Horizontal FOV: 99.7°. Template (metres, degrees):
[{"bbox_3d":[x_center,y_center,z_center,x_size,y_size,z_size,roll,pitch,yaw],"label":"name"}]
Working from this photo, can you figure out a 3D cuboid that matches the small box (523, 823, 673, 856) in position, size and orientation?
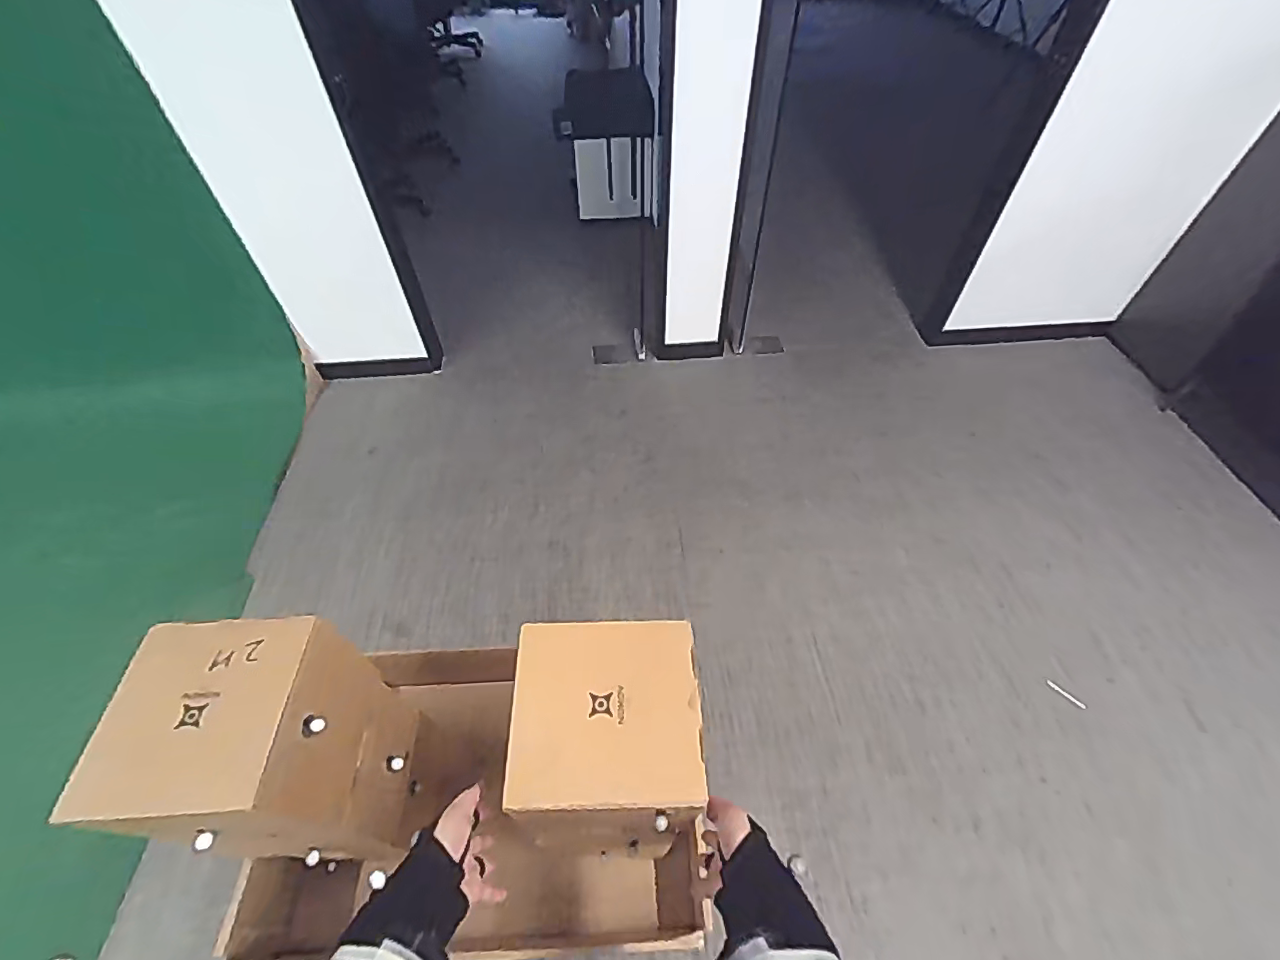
[{"bbox_3d":[-0.040,0.366,0.691,0.168,0.176,0.179,3,50,1],"label":"small box"}]

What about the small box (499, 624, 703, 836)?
[{"bbox_3d":[-0.036,0.263,0.565,0.179,0.176,0.168,-1,51,-3],"label":"small box"}]

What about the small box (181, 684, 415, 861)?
[{"bbox_3d":[-0.407,0.374,0.688,0.179,0.176,0.168,-3,50,-3],"label":"small box"}]

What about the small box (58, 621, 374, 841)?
[{"bbox_3d":[-0.404,0.266,0.563,0.168,0.176,0.179,-2,50,-1],"label":"small box"}]
